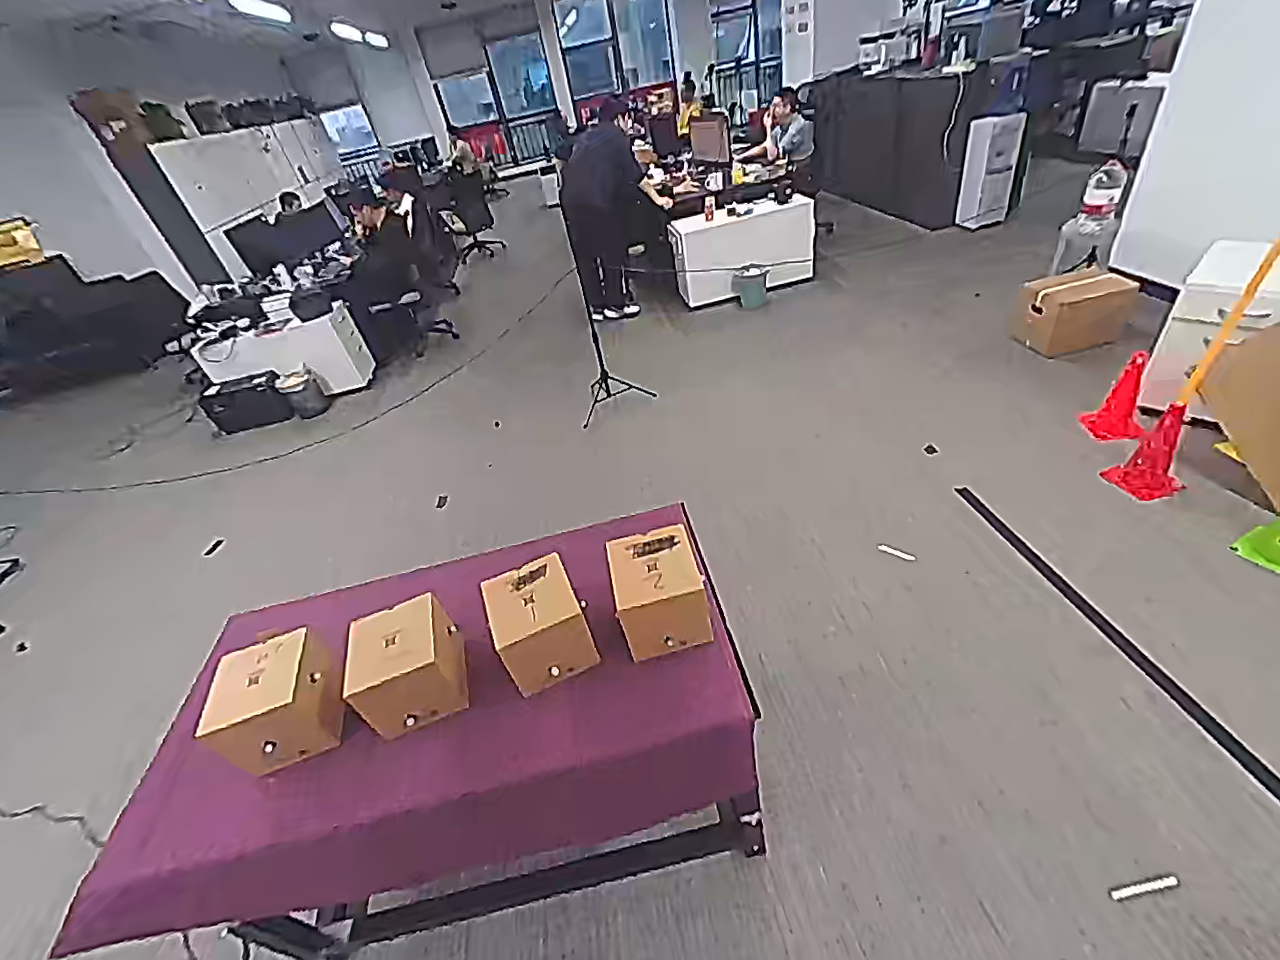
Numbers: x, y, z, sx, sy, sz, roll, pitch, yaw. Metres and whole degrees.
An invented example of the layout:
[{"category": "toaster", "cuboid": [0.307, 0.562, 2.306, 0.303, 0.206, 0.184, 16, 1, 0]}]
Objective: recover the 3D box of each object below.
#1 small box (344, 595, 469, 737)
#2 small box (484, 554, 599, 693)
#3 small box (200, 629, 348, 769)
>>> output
[{"category": "small box", "cuboid": [-0.452, 0.366, 1.069, 0.168, 0.176, 0.179, -21, 38, -8]}, {"category": "small box", "cuboid": [-0.197, 0.288, 1.089, 0.168, 0.176, 0.179, -22, 39, -11]}, {"category": "small box", "cuboid": [-0.696, 0.433, 1.056, 0.168, 0.176, 0.179, -19, 38, -8]}]
